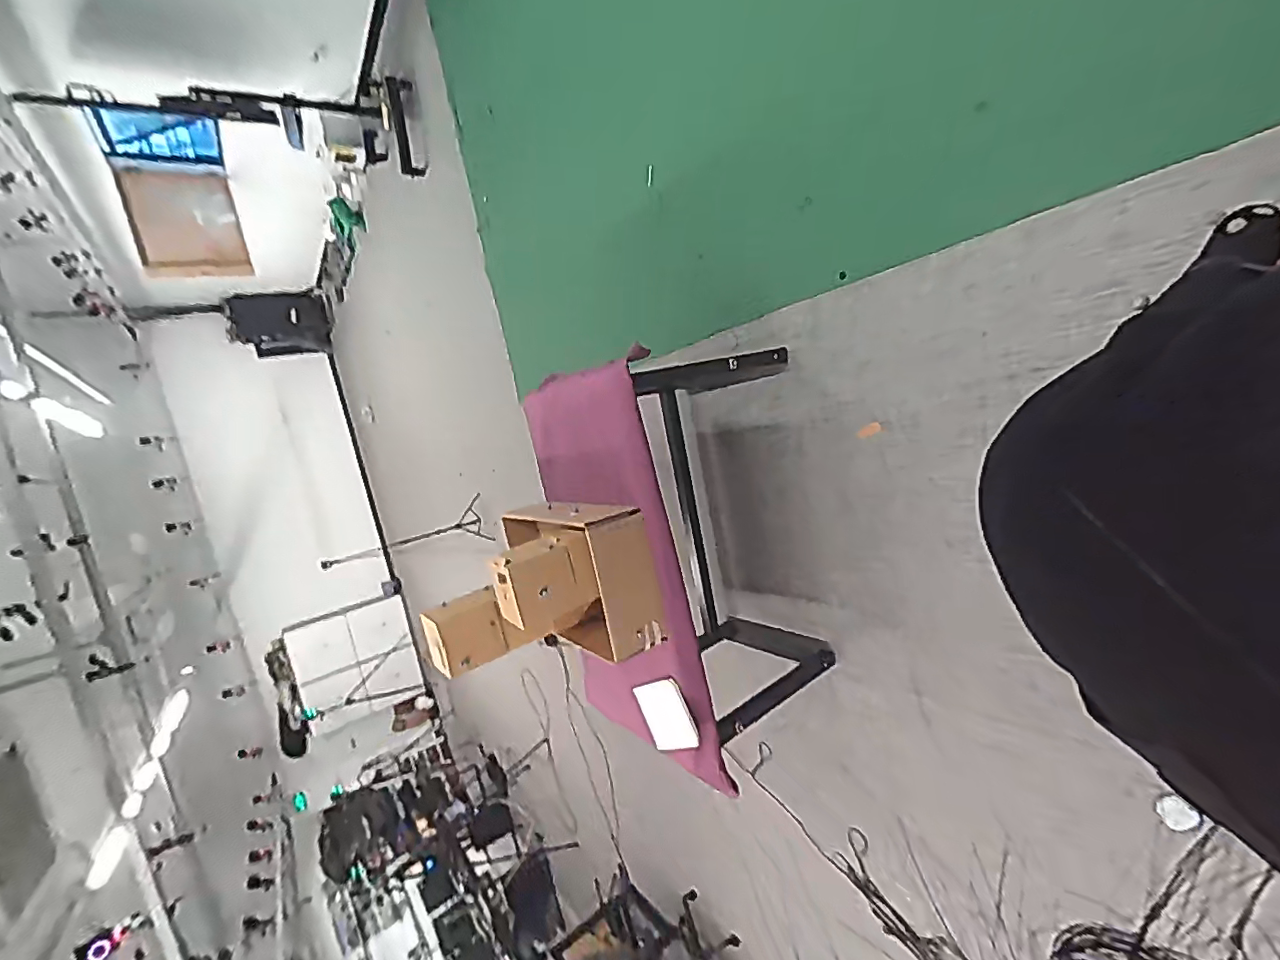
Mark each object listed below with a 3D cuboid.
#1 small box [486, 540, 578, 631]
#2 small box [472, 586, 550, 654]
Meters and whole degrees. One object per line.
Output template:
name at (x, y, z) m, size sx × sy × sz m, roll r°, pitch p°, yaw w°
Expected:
small box at (-0.288, 0.273, 1.450) m, size 0.168 × 0.176 × 0.179 m, roll 3°, pitch 108°, yaw 56°
small box at (-0.388, 0.403, 1.658) m, size 0.179 × 0.176 × 0.168 m, roll 1°, pitch 105°, yaw 53°
